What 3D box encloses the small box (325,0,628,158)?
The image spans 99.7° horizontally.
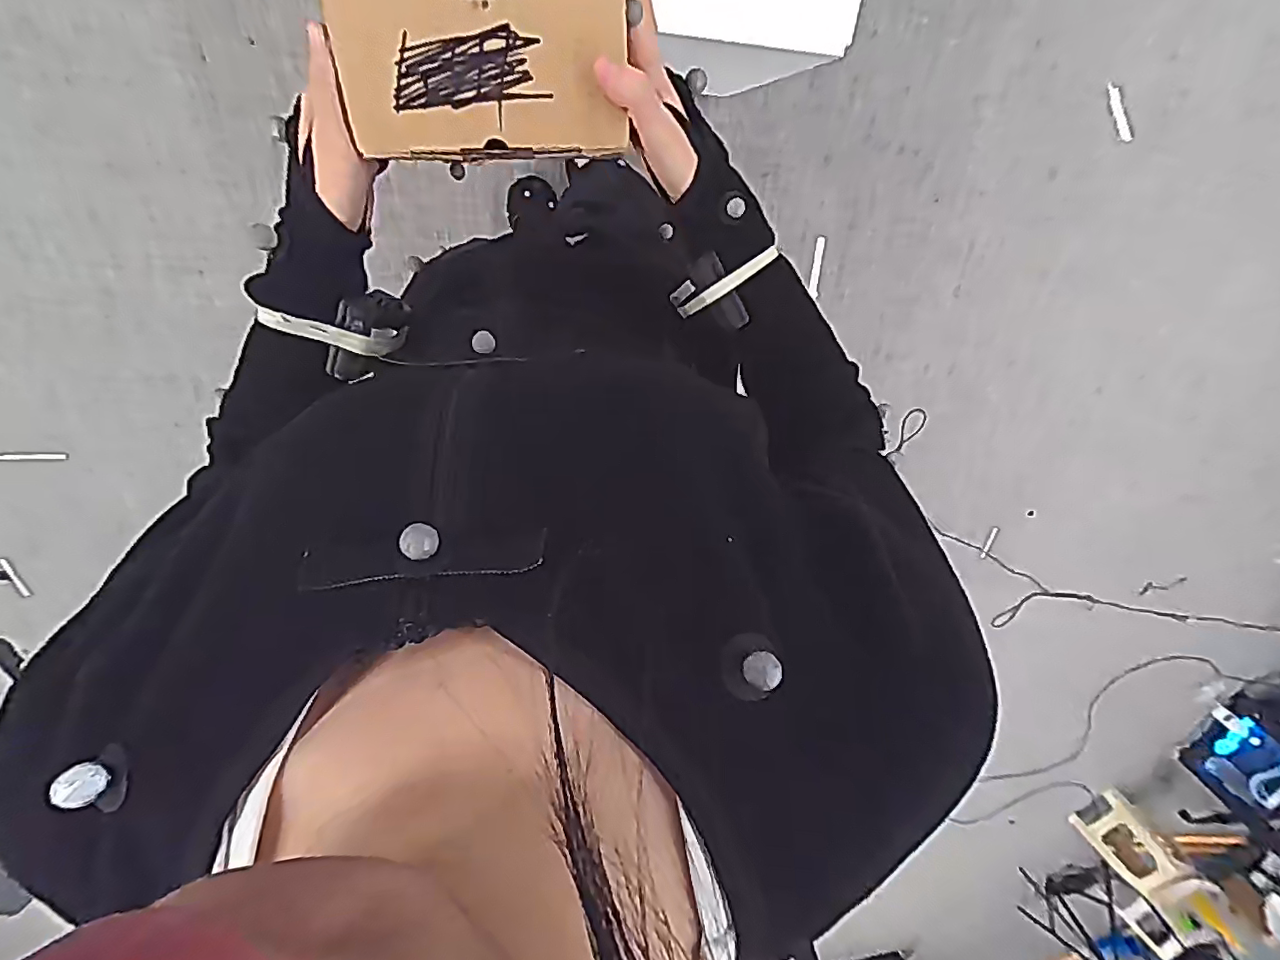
[{"bbox_3d":[-0.095,-0.315,0.356,0.168,0.176,0.179,-4,119,-5],"label":"small box"}]
